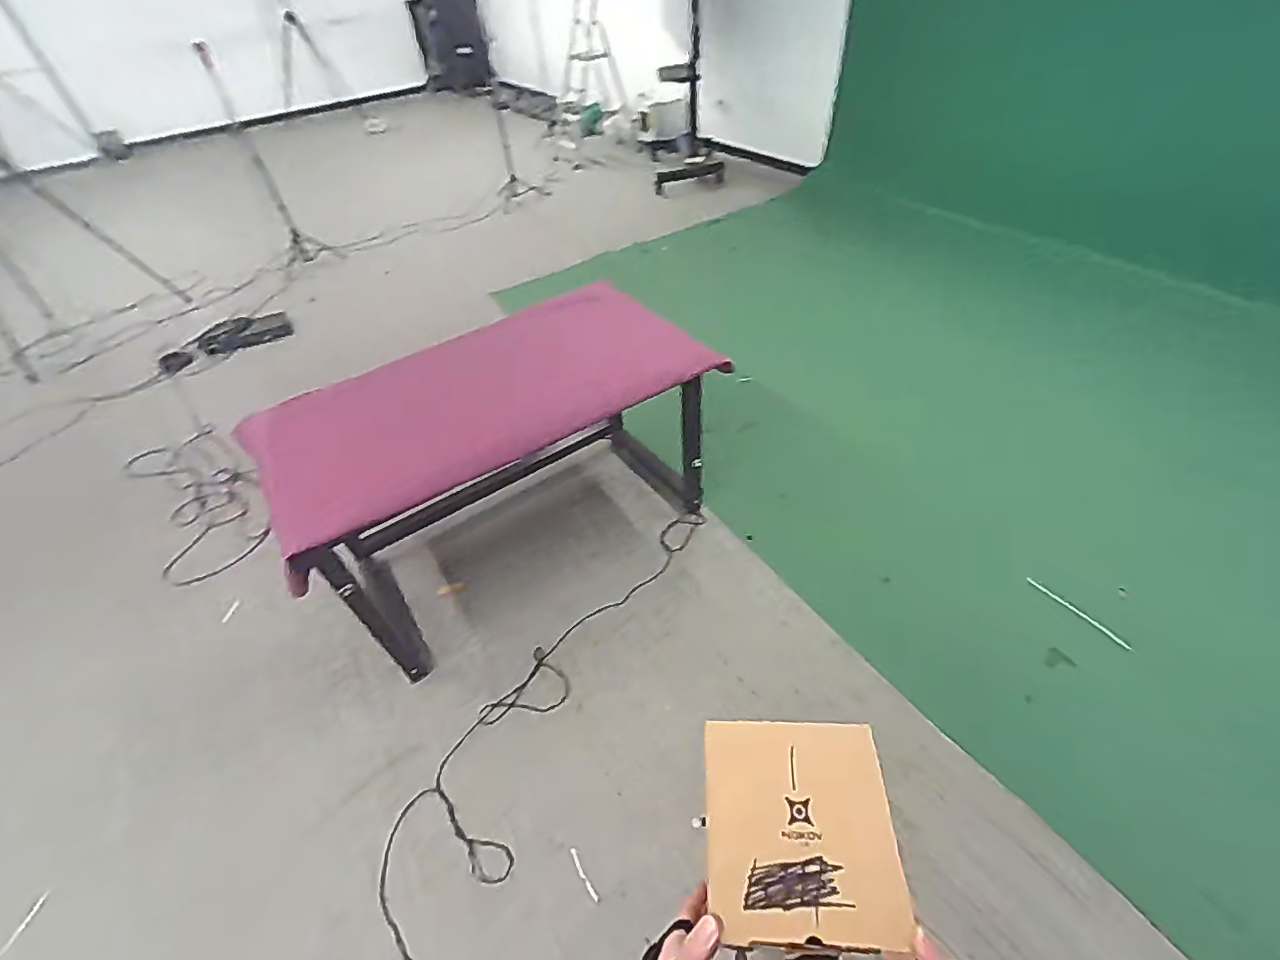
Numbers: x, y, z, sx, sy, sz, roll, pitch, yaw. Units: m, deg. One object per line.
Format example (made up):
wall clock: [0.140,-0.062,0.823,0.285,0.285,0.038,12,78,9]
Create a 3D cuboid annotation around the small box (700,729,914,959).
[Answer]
small box: [0.146,0.370,0.548,0.168,0.176,0.179,-1,49,4]
